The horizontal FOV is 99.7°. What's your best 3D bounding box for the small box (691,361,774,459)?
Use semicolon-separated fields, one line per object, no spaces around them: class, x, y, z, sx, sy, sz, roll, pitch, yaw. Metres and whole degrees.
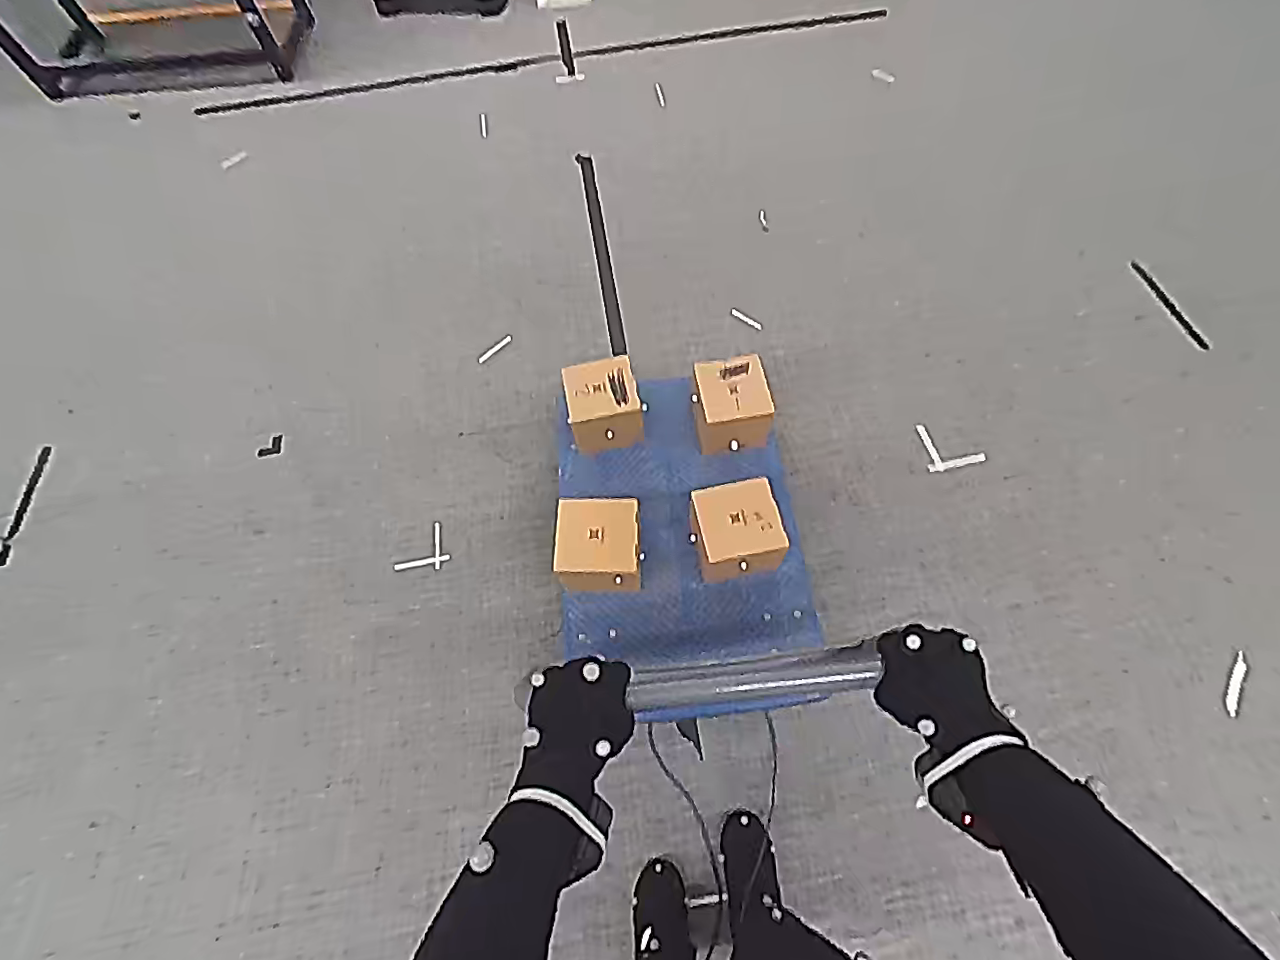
small box;0.227;-0.175;1.381;0.168;0.176;0.179;-9;65;-1

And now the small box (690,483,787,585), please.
small box;0.214;0.129;1.232;0.179;0.176;0.168;-11;64;-2

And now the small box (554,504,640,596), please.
small box;-0.090;0.164;1.231;0.179;0.176;0.168;0;63;1
